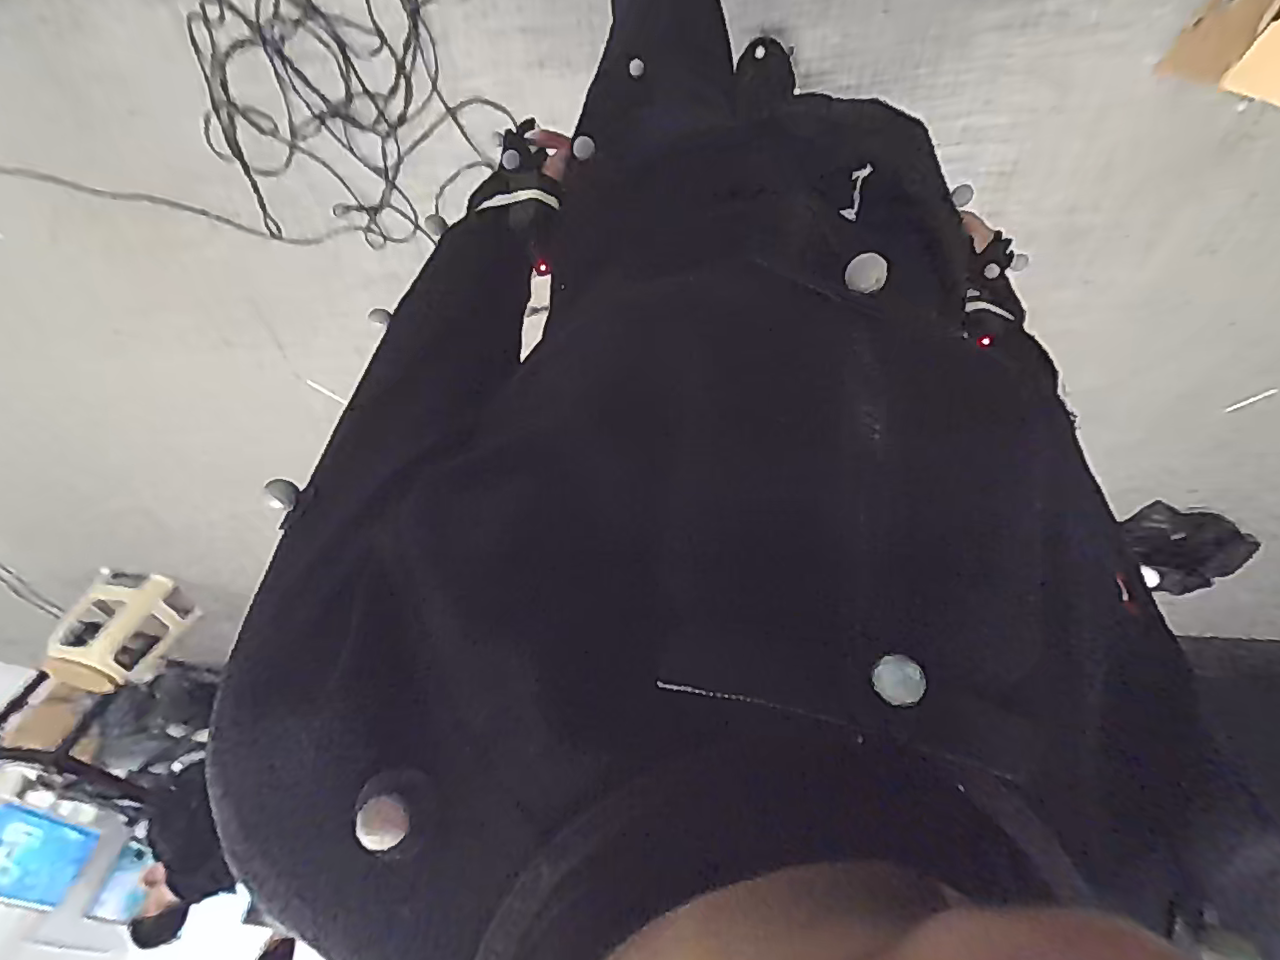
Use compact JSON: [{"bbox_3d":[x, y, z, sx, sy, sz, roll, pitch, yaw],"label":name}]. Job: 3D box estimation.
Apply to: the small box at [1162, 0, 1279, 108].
[{"bbox_3d":[0.943,-0.659,0.784,0.179,0.176,0.168,14,135,-3],"label":"small box"}]
